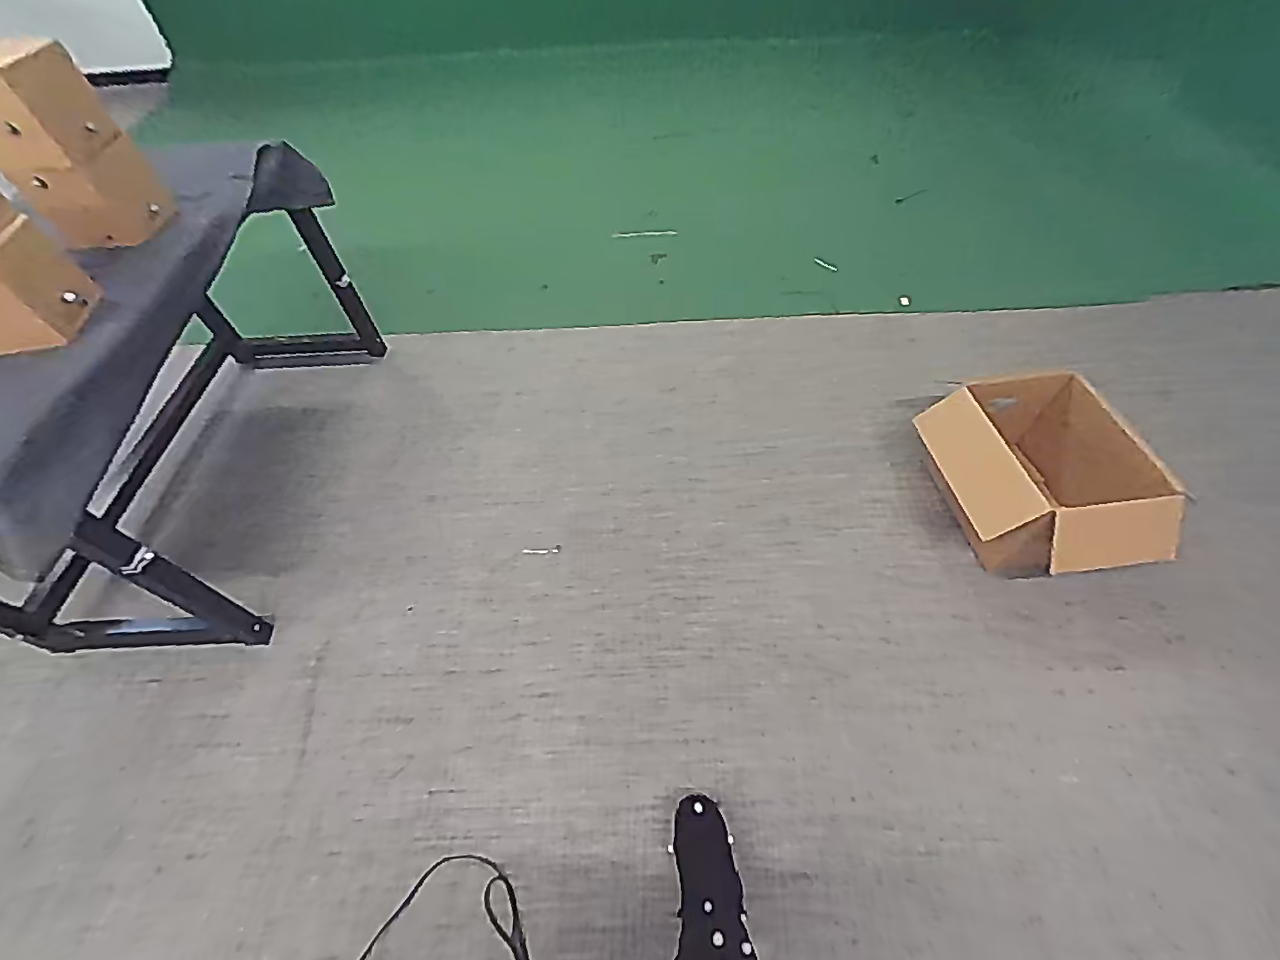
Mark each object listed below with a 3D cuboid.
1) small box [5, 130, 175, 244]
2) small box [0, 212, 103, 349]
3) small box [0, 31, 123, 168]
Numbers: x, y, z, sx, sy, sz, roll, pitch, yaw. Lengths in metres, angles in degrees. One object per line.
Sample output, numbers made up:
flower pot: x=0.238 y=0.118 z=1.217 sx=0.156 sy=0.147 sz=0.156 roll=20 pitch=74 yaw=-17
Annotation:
small box: x=-1.192 y=-0.645 z=1.193 sx=0.168 sy=0.176 sz=0.179 roll=-2 pitch=53 yaw=2
small box: x=-1.157 y=-0.354 z=0.978 sx=0.179 sy=0.176 sz=0.168 roll=-10 pitch=54 yaw=-5
small box: x=-1.203 y=-0.742 z=1.056 sx=0.168 sy=0.176 sz=0.179 roll=-1 pitch=54 yaw=3
